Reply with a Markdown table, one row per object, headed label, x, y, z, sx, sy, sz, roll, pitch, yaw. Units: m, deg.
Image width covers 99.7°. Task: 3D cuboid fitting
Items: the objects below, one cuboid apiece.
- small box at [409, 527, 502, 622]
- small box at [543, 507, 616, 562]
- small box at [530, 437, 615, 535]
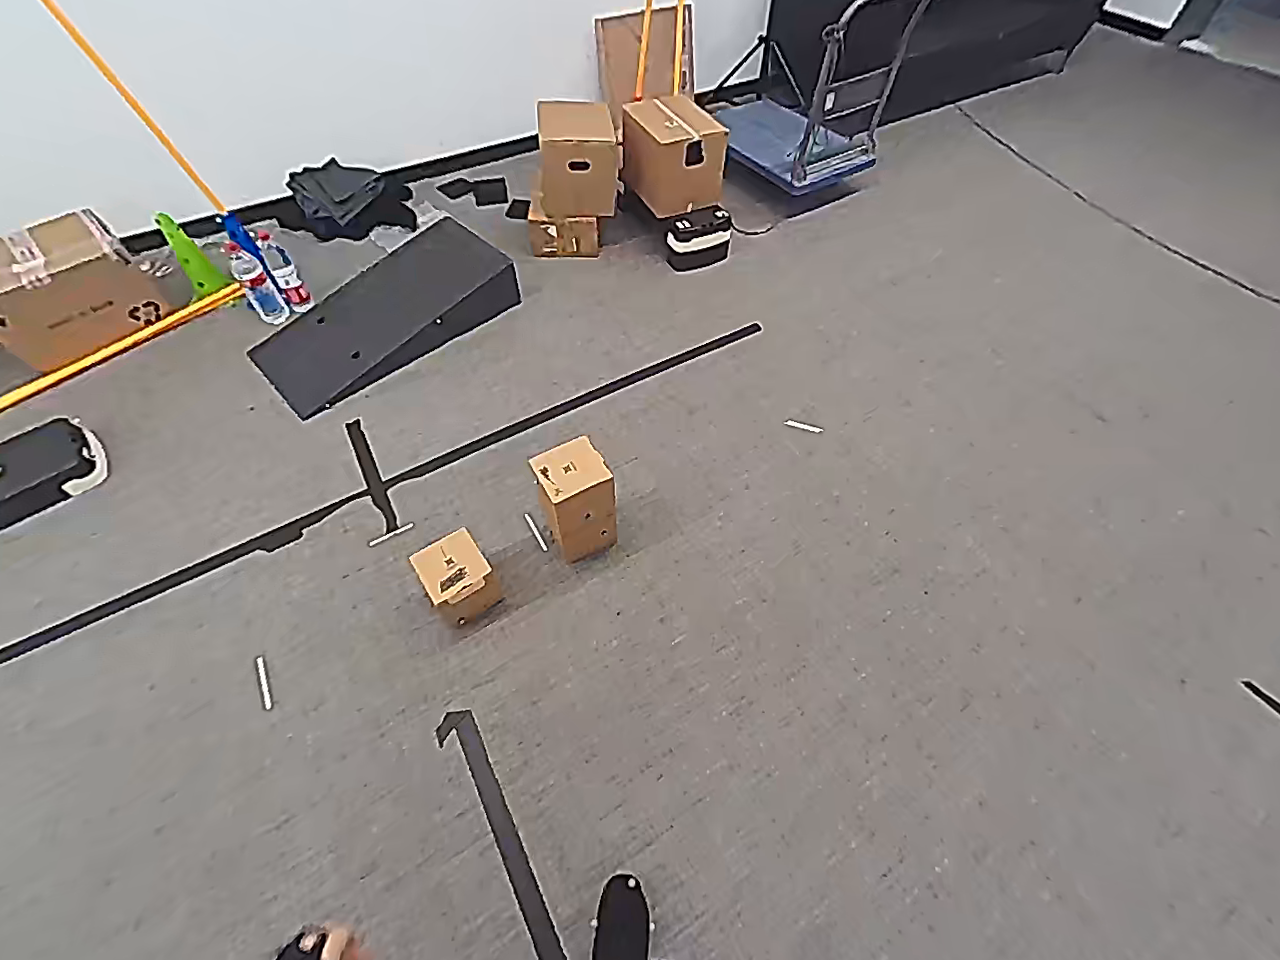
| label | x | y | z | sx | sy | sz | roll | pitch | yaw |
| --- | --- | --- | --- | --- | --- | --- | --- | --- | --- |
| small box | -0.503 | 0.269 | 1.493 | 0.168 | 0.176 | 0.179 | -30 | 60 | -21 |
| small box | -0.182 | 0.115 | 1.612 | 0.179 | 0.176 | 0.168 | -23 | 58 | -16 |
| small box | -0.182 | 0.018 | 1.480 | 0.179 | 0.176 | 0.168 | -24 | 57 | -18 |
